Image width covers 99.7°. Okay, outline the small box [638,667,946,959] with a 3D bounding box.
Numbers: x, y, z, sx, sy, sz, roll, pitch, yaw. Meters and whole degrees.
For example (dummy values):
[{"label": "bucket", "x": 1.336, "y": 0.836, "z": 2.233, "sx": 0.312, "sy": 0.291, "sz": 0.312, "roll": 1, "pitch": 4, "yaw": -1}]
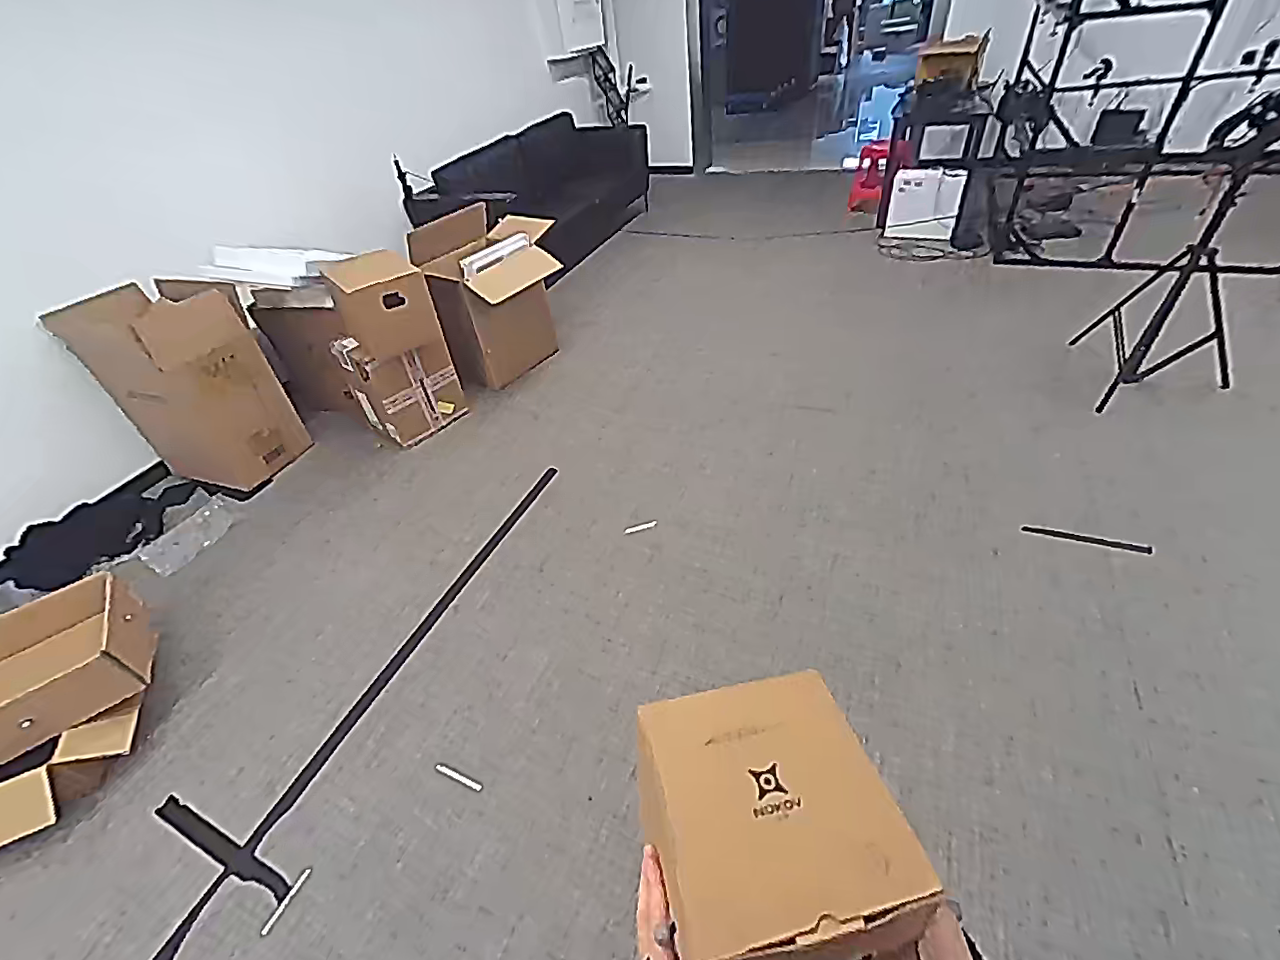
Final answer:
[{"label": "small box", "x": 0.097, "y": 0.287, "z": 0.434, "sx": 0.168, "sy": 0.176, "sz": 0.179, "roll": -7, "pitch": 32, "yaw": -11}]
